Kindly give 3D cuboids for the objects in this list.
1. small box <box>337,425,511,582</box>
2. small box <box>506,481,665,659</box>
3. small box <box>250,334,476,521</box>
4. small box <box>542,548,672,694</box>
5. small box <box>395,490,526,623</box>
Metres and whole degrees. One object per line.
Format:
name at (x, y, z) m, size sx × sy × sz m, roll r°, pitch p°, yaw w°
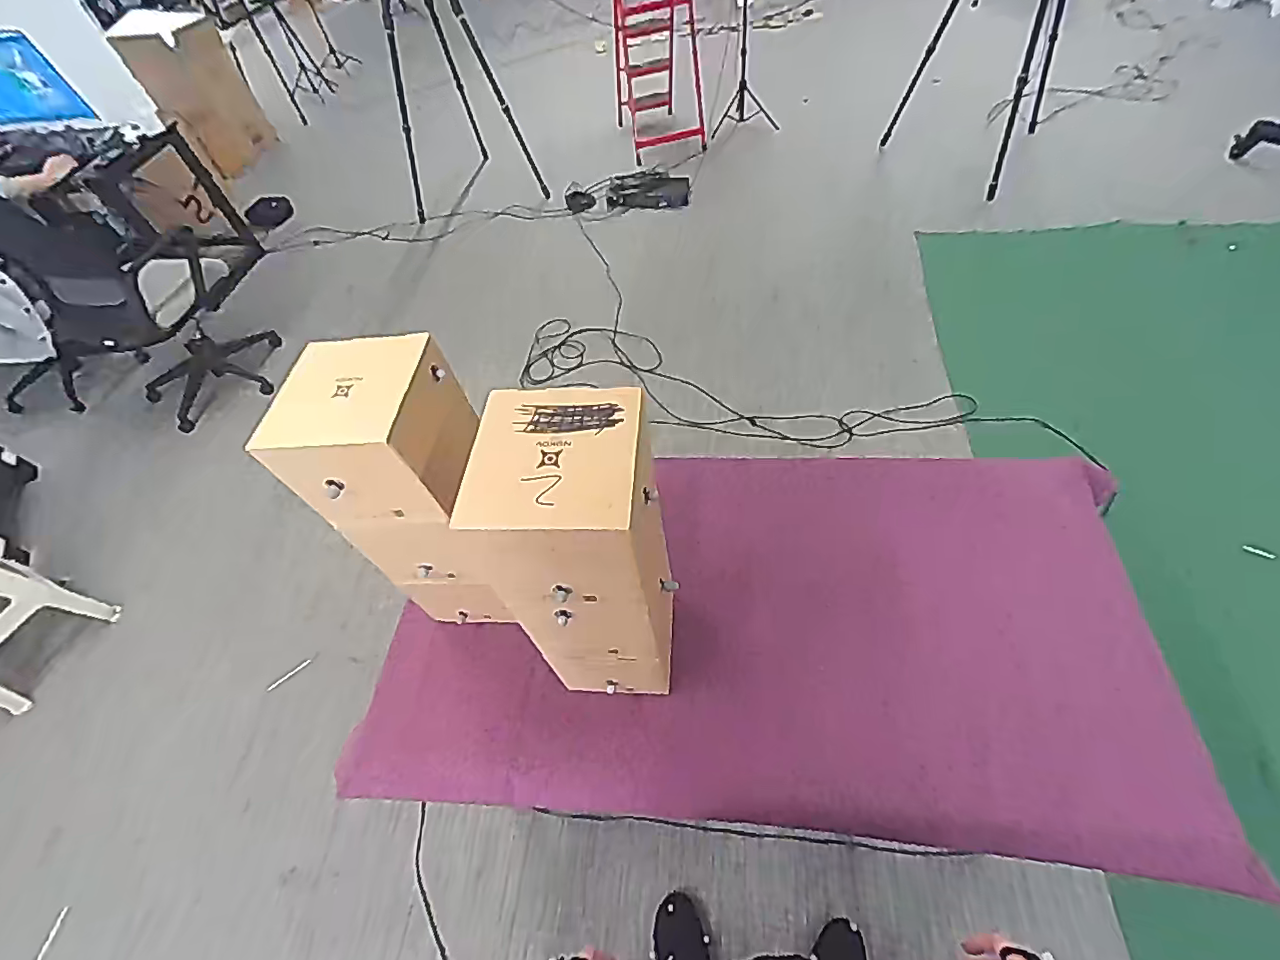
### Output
small box at (-0.306, 0.037, 0.814) m, size 0.168 × 0.176 × 0.179 m, roll -2°, pitch 55°, yaw 8°
small box at (-0.058, 0.119, 0.716) m, size 0.168 × 0.176 × 0.179 m, roll -1°, pitch 53°, yaw 8°
small box at (-0.326, -0.057, 0.683) m, size 0.168 × 0.176 × 0.179 m, roll -2°, pitch 53°, yaw 8°
small box at (-0.039, 0.218, 0.846) m, size 0.168 × 0.176 × 0.179 m, roll 0°, pitch 54°, yaw 9°
small box at (-0.288, 0.134, 0.944) m, size 0.168 × 0.176 × 0.179 m, roll -1°, pitch 55°, yaw 8°
